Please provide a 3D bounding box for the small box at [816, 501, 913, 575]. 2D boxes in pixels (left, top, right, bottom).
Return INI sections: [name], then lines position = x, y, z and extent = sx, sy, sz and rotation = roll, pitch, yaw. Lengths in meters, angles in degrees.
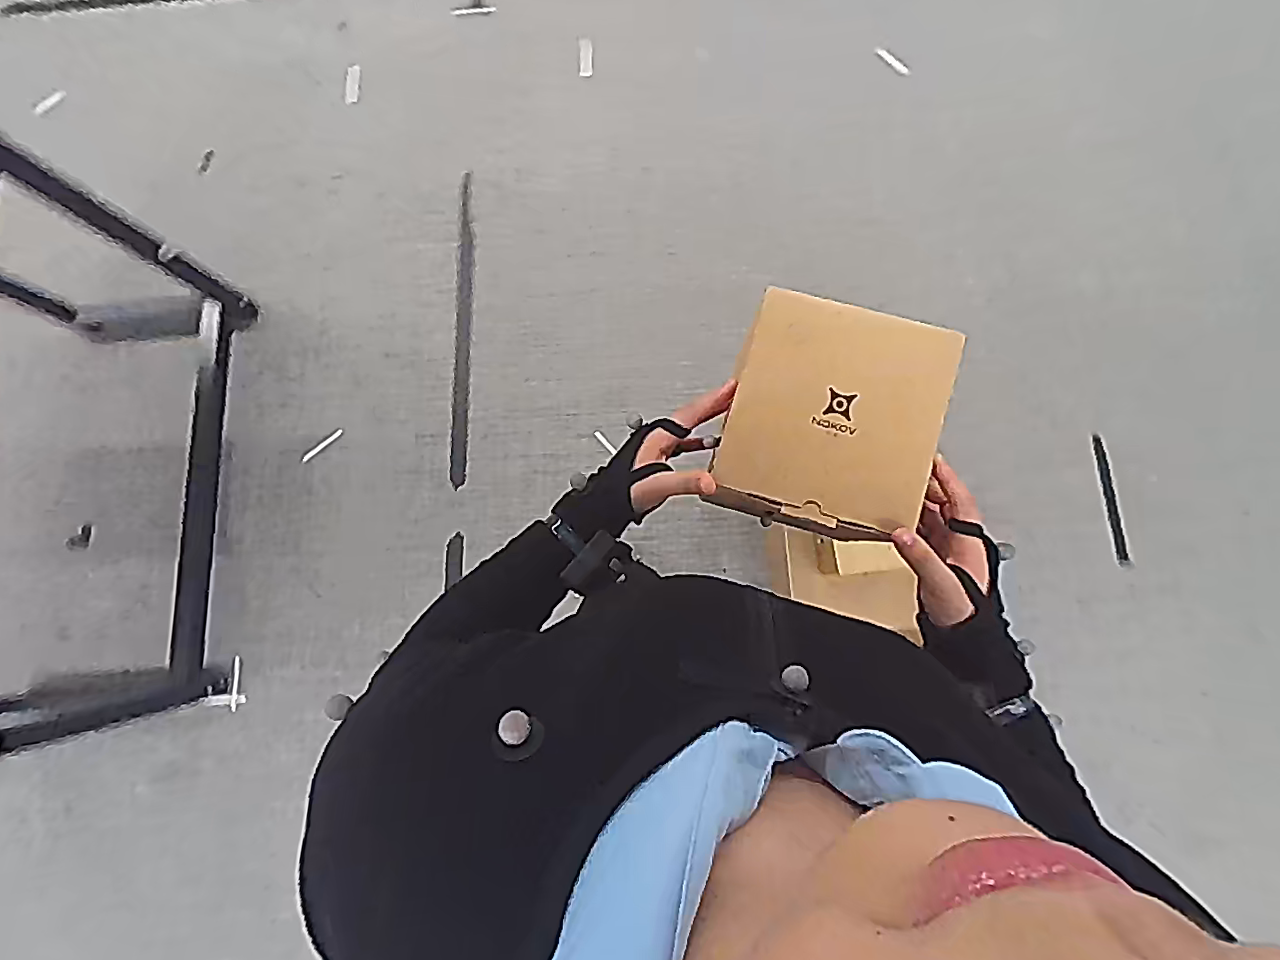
[small box]
position = 0.559, 0.153, 1.377
extent = 0.179, 0.176, 0.168
rotation = -7, 80, 1
